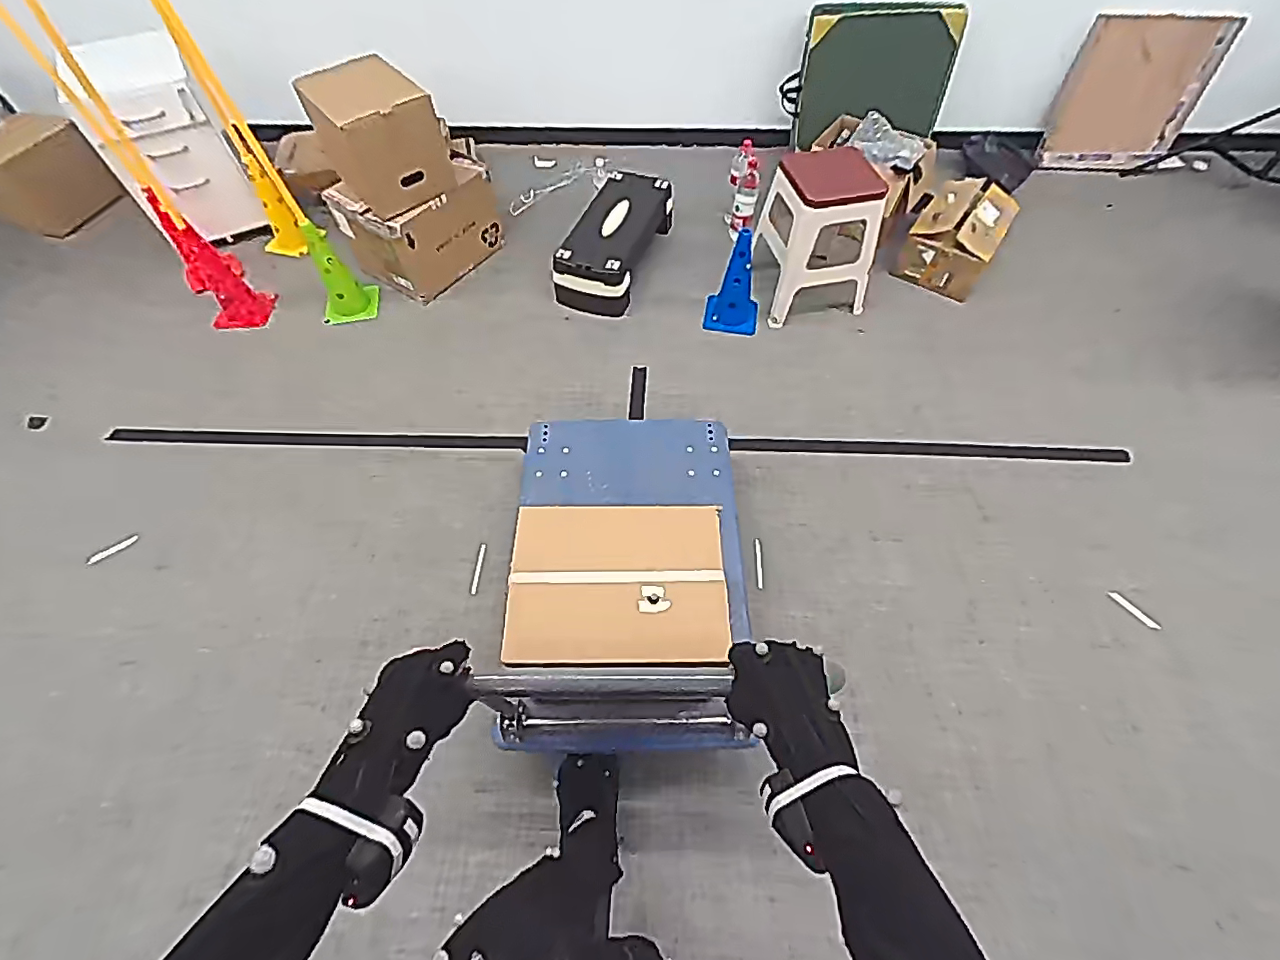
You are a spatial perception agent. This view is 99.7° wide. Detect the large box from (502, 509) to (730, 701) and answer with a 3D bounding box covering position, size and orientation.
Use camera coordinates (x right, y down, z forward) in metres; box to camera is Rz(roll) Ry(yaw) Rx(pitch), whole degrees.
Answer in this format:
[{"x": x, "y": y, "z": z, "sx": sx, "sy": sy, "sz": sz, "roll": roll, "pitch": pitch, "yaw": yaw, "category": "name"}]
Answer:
[{"x": -0.047, "y": 0.269, "z": 1.135, "sx": 0.408, "sy": 0.320, "sz": 0.320, "roll": 0, "pitch": 58, "yaw": -1, "category": "large box"}]
